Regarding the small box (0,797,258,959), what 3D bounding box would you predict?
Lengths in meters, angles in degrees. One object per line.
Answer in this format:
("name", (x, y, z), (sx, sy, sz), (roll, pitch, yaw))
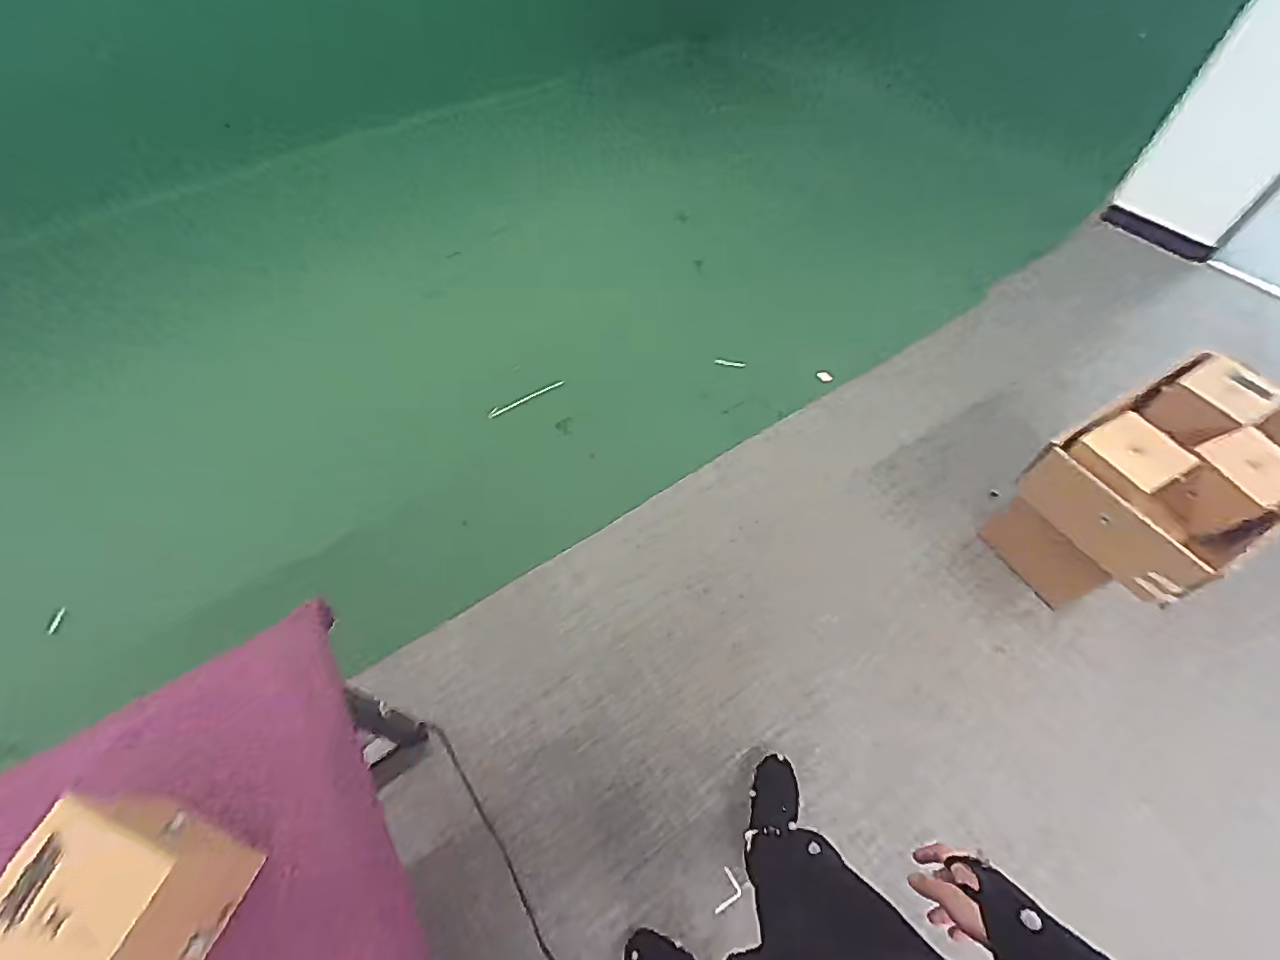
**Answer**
("small box", (-0.601, 0.488, 0.615), (0.179, 0.176, 0.168), (18, 60, 12))
